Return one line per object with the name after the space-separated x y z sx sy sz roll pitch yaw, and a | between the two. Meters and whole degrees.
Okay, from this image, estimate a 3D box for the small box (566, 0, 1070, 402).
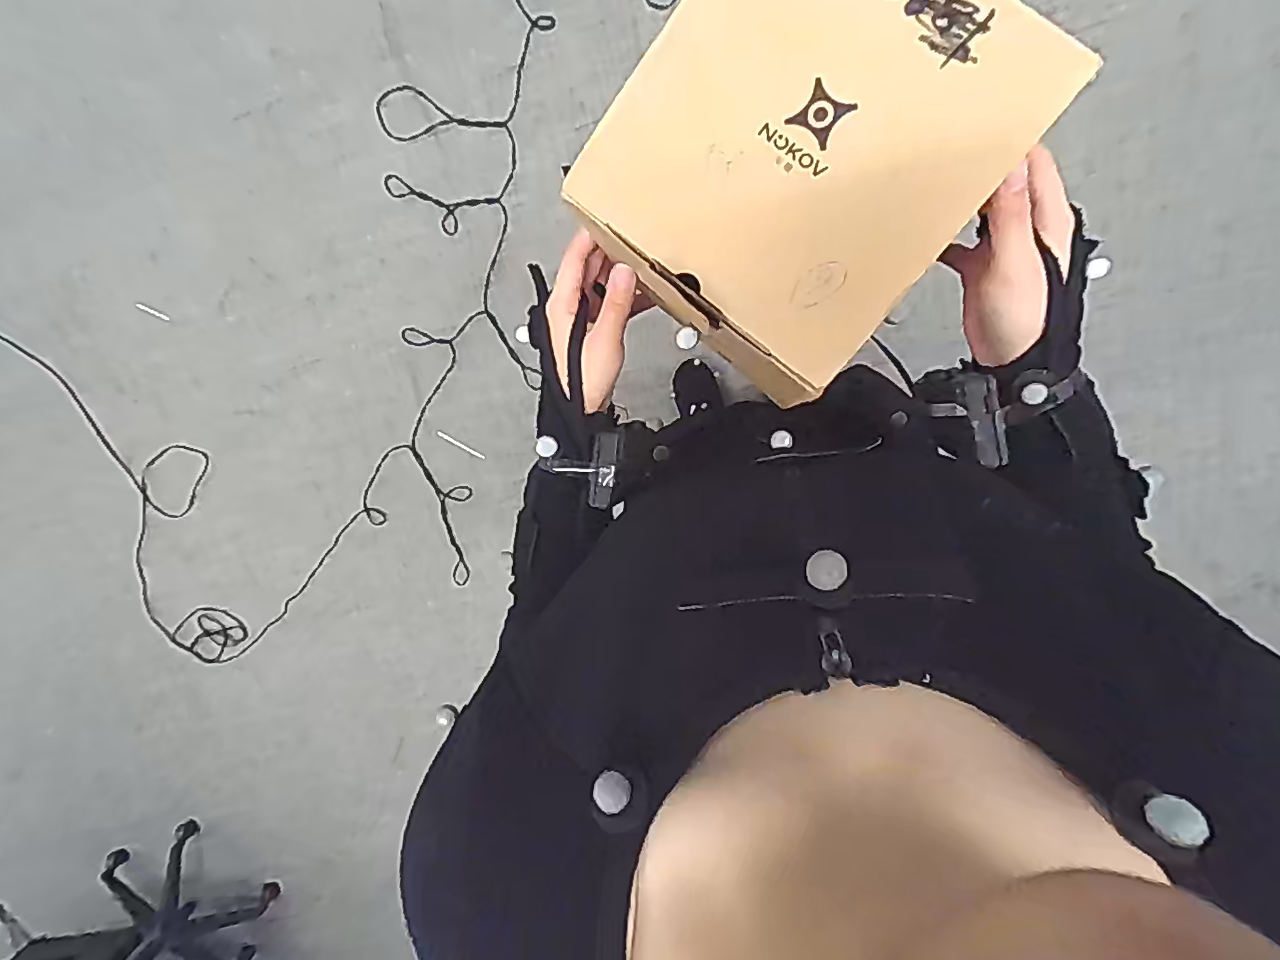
0.089 -0.162 0.334 0.168 0.176 0.179 40 101 5 | small box
